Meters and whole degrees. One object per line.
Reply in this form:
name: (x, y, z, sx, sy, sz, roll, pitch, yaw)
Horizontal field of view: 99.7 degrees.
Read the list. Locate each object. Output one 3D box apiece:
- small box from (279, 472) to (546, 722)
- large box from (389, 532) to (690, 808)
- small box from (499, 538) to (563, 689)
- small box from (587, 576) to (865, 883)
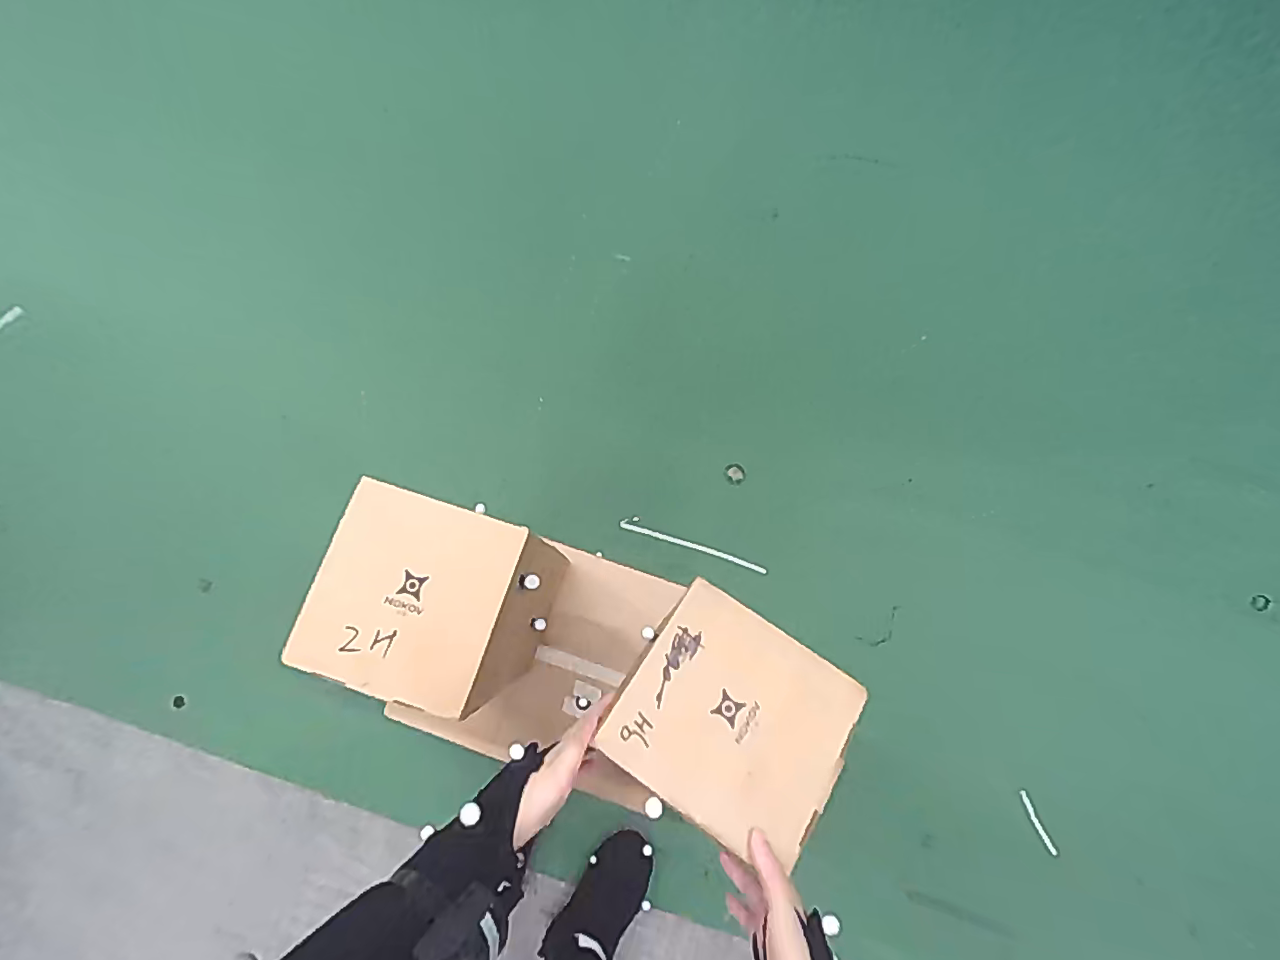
small box: (-0.204, 0.114, 0.547, 0.168, 0.176, 0.179, 18, 77, 4)
large box: (-0.125, 0.285, 0.926, 0.408, 0.320, 0.320, 18, 78, 3)
small box: (-0.208, 0.150, 0.707, 0.168, 0.176, 0.179, 19, 77, 4)
small box: (0.066, 0.221, 0.507, 0.179, 0.176, 0.168, 34, 65, 9)
